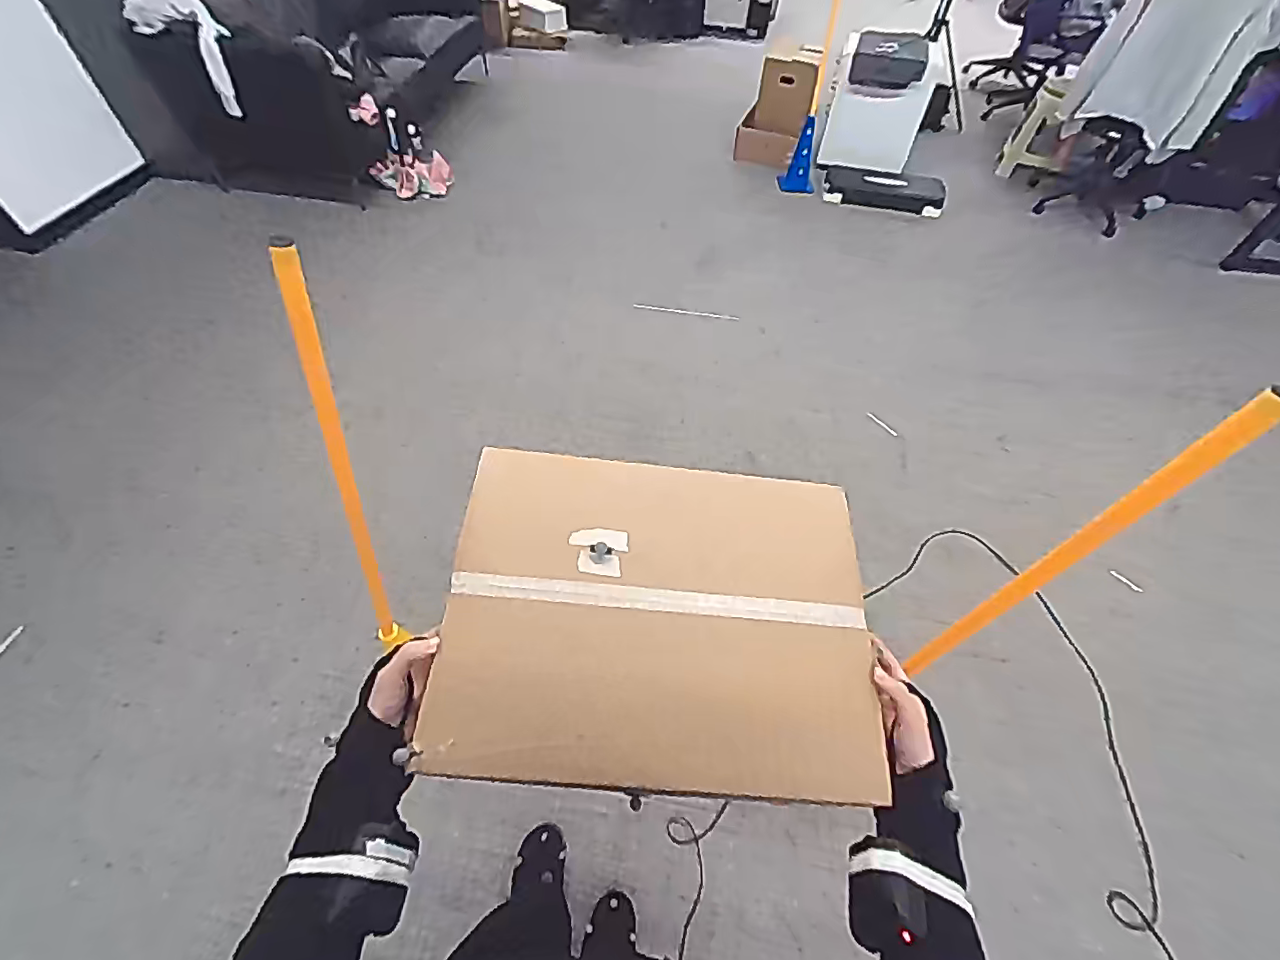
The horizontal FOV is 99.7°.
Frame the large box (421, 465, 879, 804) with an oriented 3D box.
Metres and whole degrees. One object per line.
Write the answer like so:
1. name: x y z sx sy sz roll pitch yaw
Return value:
1. large box: 0.008 0.204 0.663 0.408 0.320 0.320 6 59 -3
